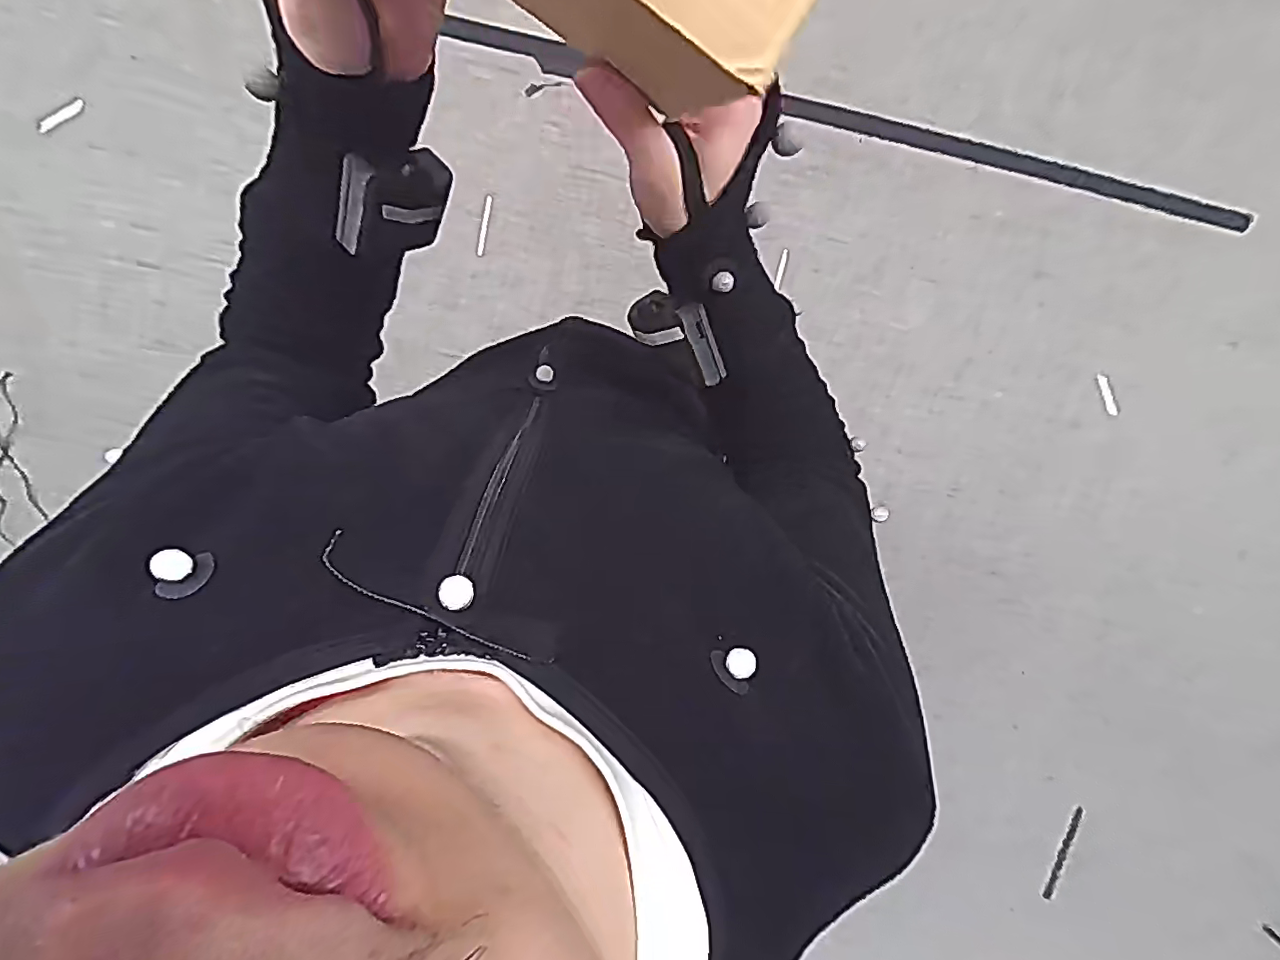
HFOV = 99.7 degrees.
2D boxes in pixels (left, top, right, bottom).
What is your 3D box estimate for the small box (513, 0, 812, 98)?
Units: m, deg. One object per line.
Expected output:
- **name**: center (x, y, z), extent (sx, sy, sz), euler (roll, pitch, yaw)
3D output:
- **small box**: center (-0.009, -0.232, 0.142), extent (0.179, 0.176, 0.168), euler (25, 118, -19)
